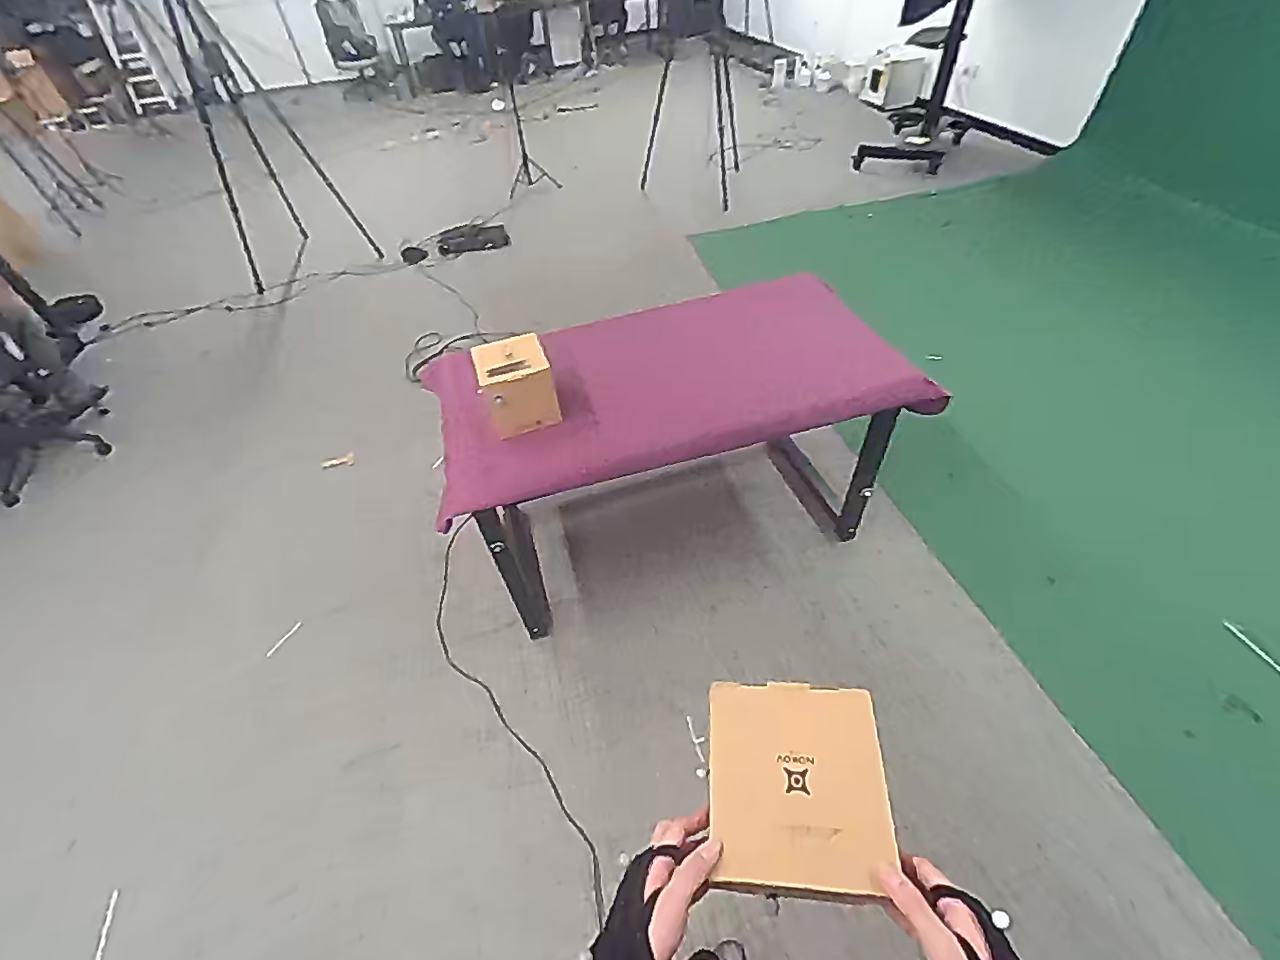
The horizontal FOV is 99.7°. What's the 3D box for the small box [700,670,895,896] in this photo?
[{"bbox_3d":[0.151,0.326,0.581,0.168,0.176,0.179,1,51,8],"label":"small box"}]
